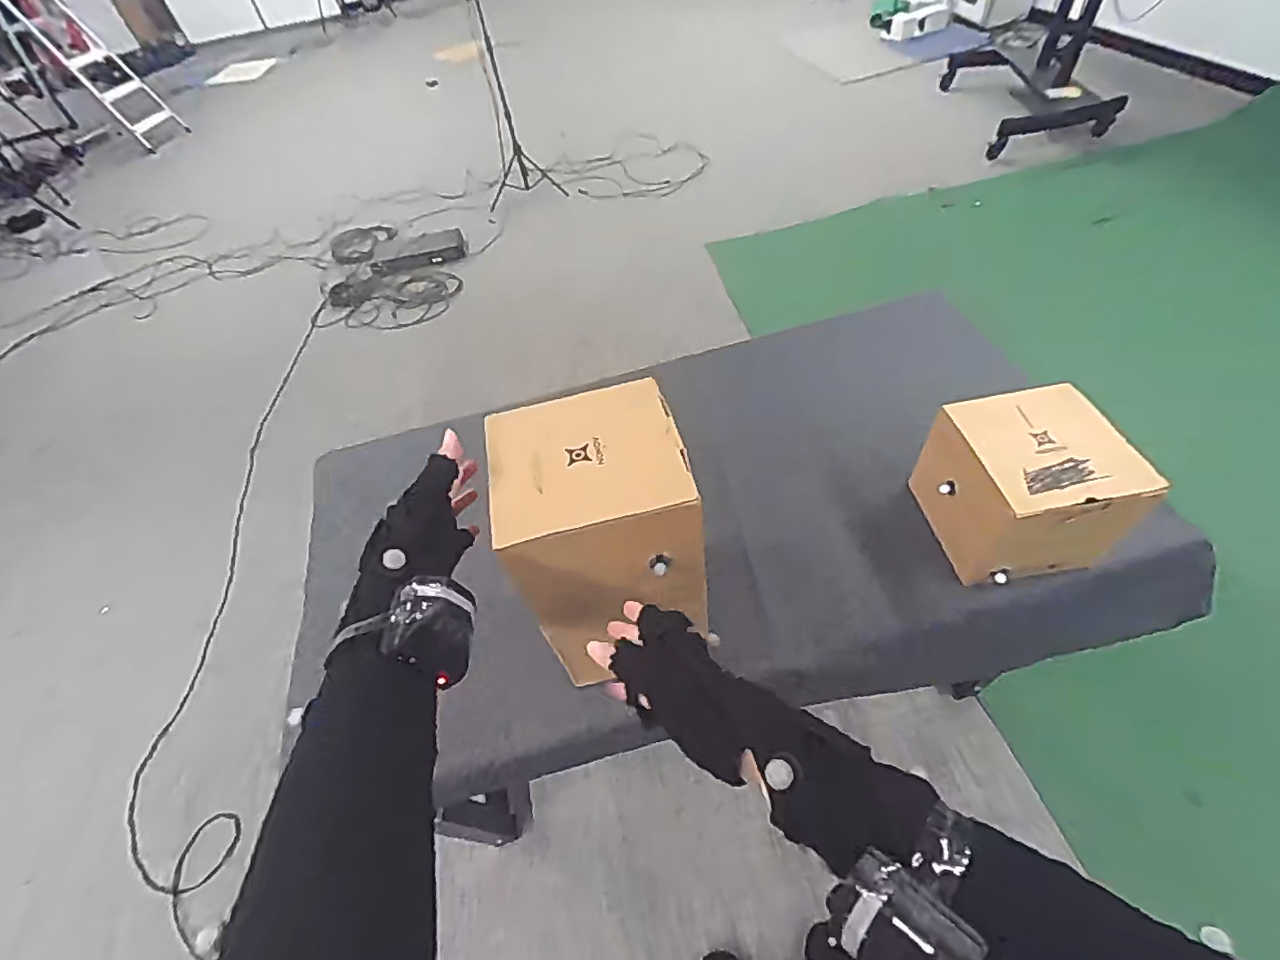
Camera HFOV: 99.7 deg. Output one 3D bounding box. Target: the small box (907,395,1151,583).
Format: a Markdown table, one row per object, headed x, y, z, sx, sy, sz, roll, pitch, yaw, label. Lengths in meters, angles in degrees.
| x | y | z | sx | sy | sz | roll | pitch | yaw | label |
| --- | --- | --- | --- | --- | --- | --- | --- | --- | --- |
| 0.478 | 0.020 | 0.703 | 0.168 | 0.176 | 0.179 | -9 | 50 | 1 | small box |

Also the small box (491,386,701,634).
| x | y | z | sx | sy | sz | roll | pitch | yaw | label |
| --- | --- | --- | --- | --- | --- | --- | --- | --- | --- |
| -0.041 | 0.034 | 0.559 | 0.179 | 0.176 | 0.168 | -15 | 48 | -3 | small box |

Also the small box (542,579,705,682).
| x | y | z | sx | sy | sz | roll | pitch | yaw | label |
| --- | --- | --- | --- | --- | --- | --- | --- | --- | --- |
| -0.023 | 0.135 | 0.685 | 0.179 | 0.176 | 0.168 | -14 | 50 | -2 | small box |
